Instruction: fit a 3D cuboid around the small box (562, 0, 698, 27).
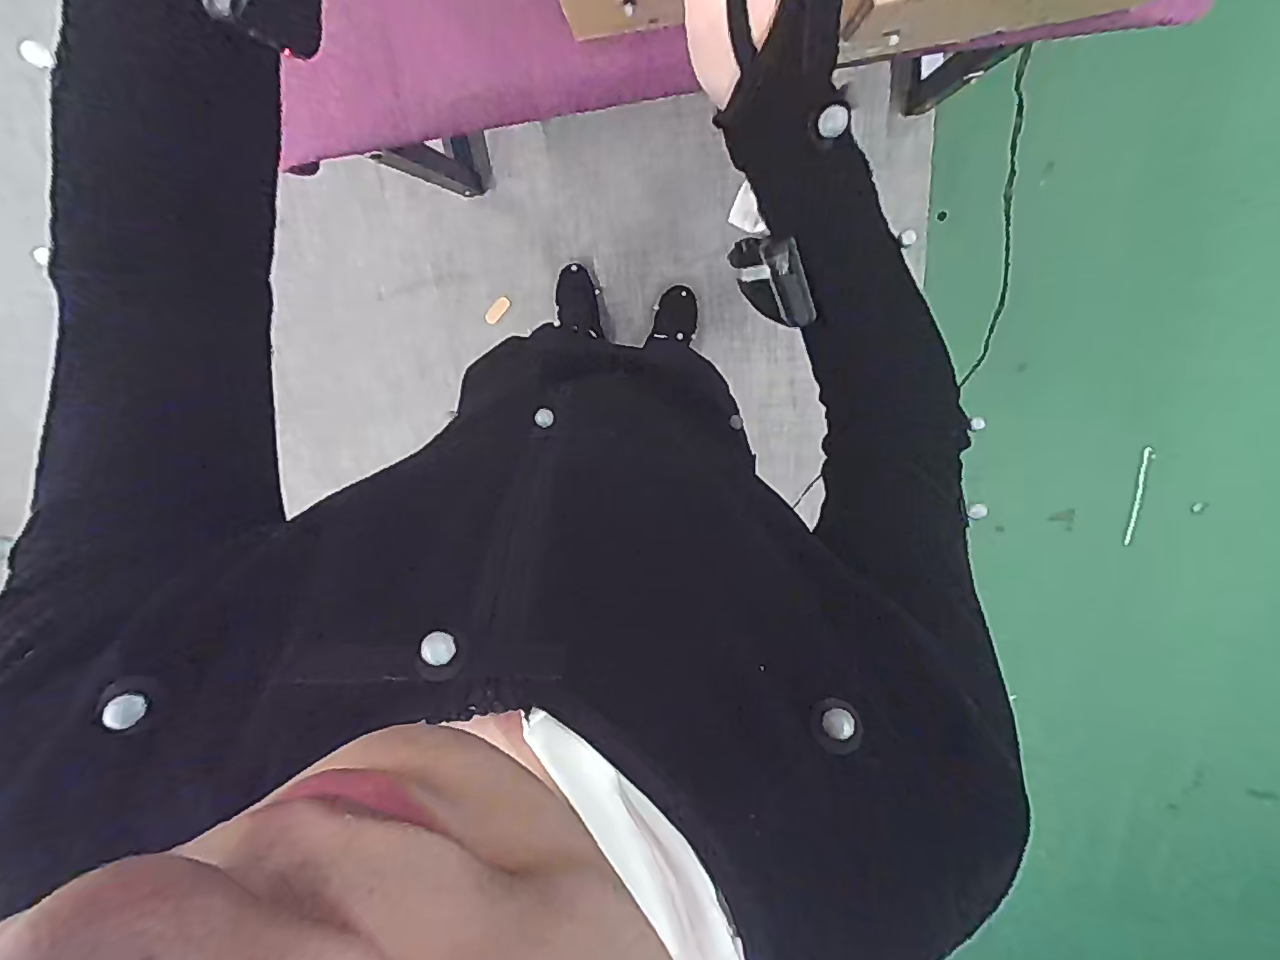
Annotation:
[{"bbox_3d":[-0.019,-0.636,0.591,0.168,0.176,0.179,-5,109,5],"label":"small box"}]
